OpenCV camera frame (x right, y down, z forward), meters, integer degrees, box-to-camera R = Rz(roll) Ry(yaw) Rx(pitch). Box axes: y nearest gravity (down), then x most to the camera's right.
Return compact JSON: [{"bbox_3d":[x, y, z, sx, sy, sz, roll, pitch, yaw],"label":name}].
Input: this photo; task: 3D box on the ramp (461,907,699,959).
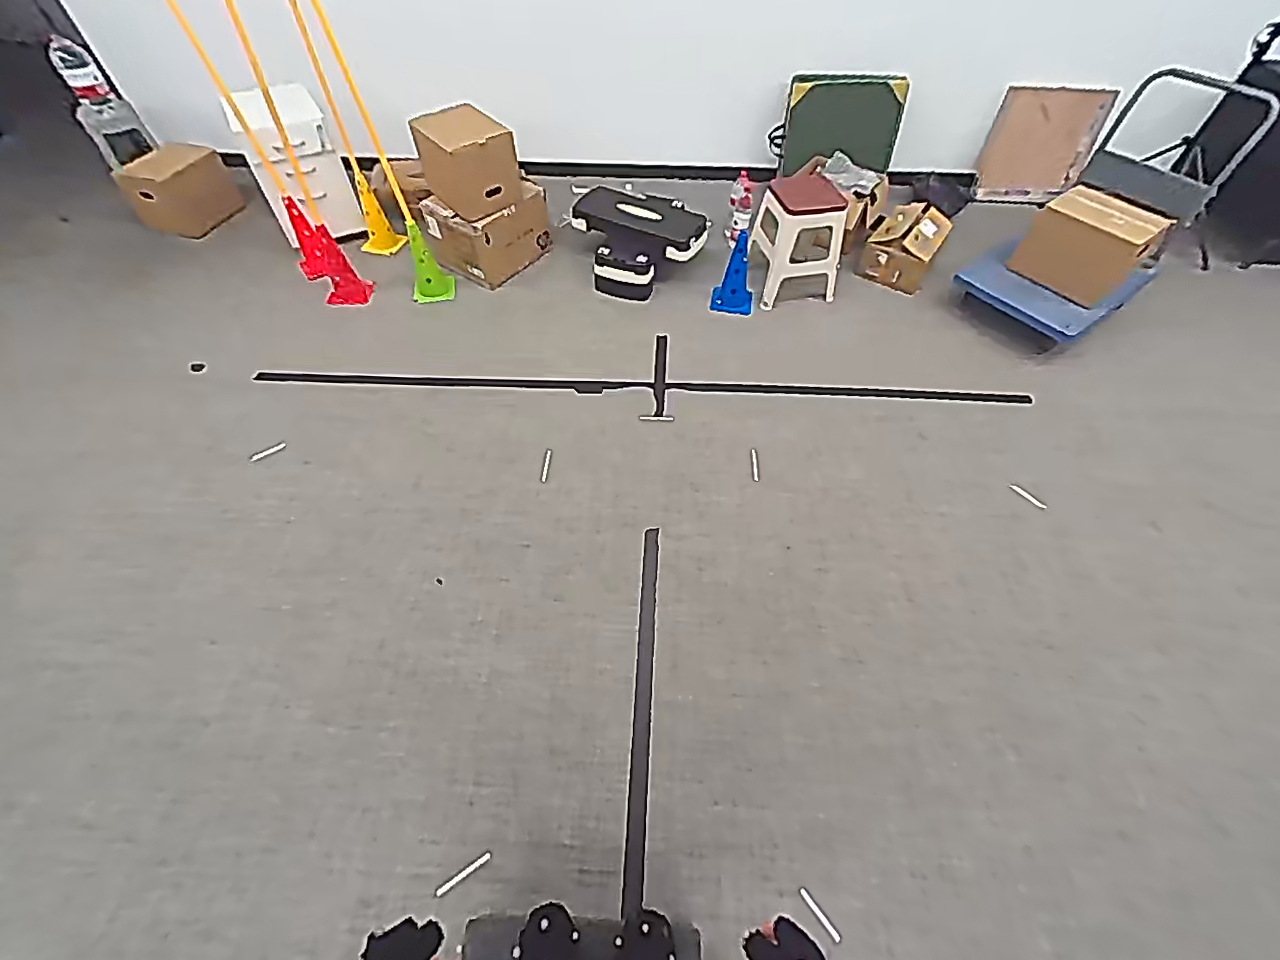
[{"bbox_3d":[-0.138,1.357,0.917,0.509,0.206,0.991,2,54,-1],"label":"ramp"}]
